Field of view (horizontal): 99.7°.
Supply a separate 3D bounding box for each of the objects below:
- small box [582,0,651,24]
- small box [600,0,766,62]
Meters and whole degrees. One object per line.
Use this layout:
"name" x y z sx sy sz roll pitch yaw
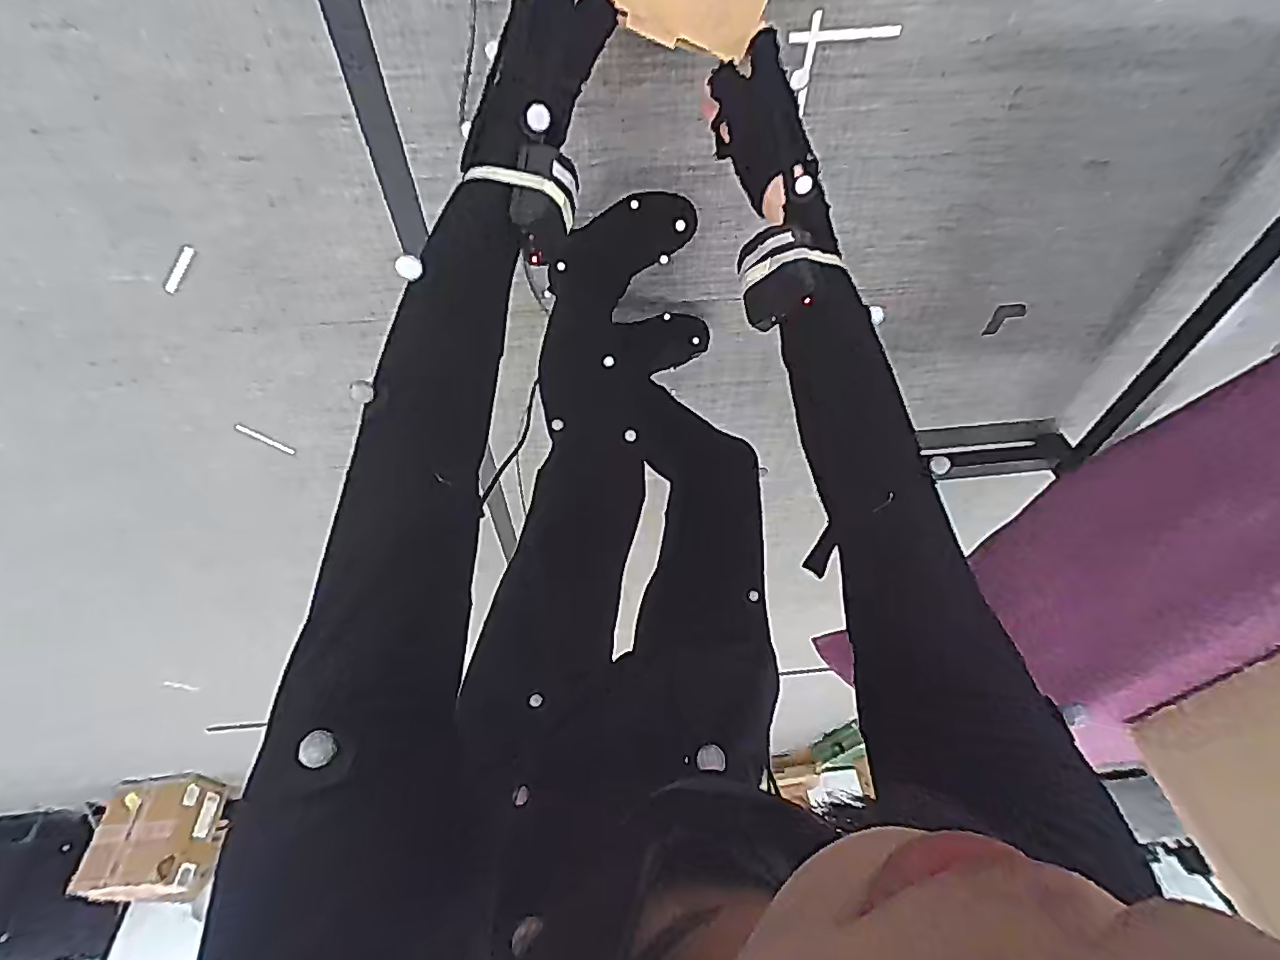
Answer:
"small box" 0.017 -0.598 0.557 0.168 0.176 0.179 -3 140 -4
"small box" 0.033 -0.485 0.435 0.168 0.176 0.179 10 133 -18
